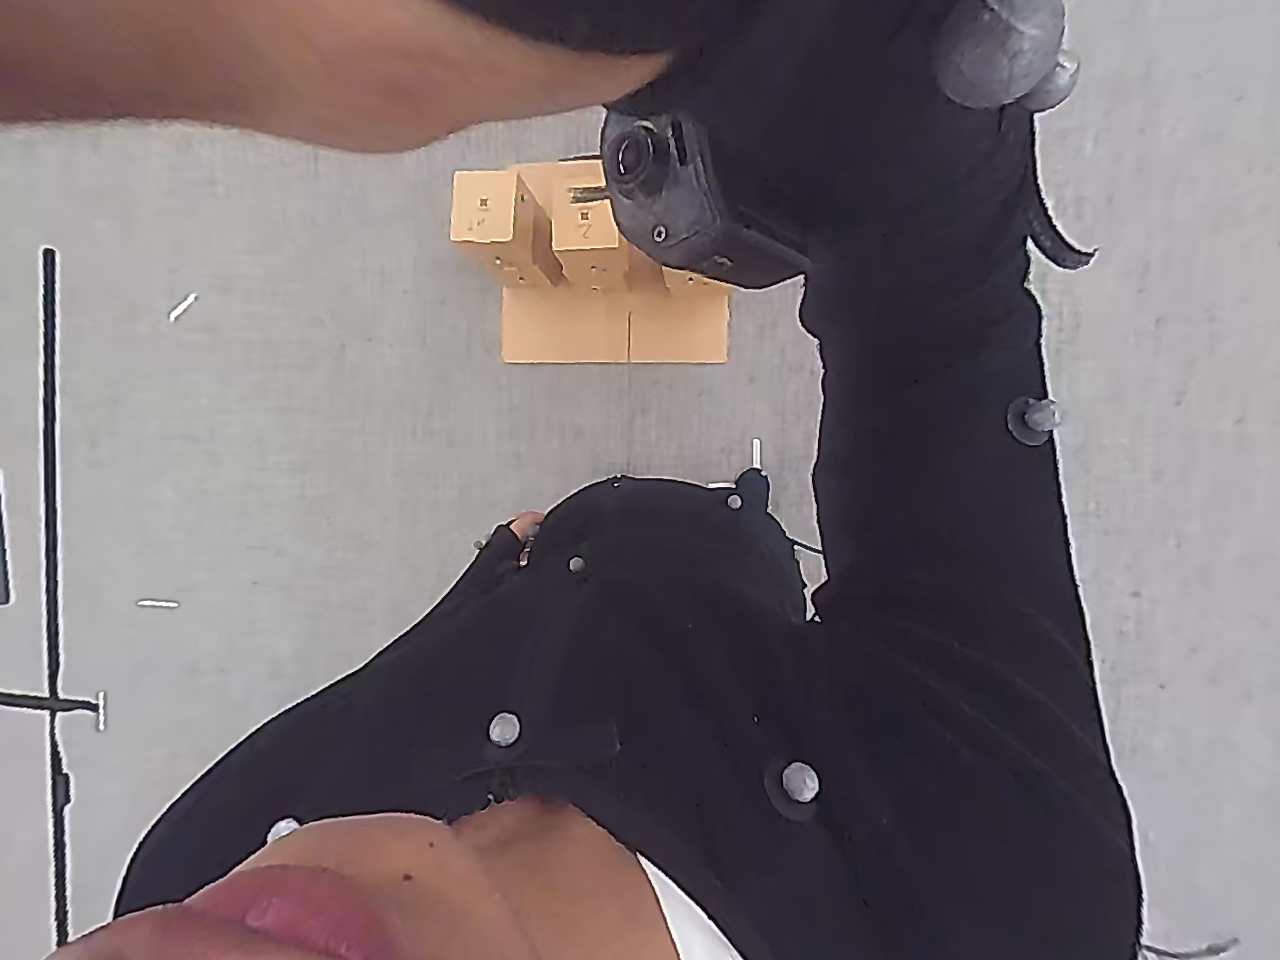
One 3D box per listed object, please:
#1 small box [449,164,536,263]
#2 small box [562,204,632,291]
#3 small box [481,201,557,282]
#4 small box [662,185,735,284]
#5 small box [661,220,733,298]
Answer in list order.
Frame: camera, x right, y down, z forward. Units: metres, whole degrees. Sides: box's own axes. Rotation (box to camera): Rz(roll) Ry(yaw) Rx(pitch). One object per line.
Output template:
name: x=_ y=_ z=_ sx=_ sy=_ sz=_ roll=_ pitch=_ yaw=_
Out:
small box: x=-0.375 y=-0.684 z=1.399 sx=0.168 sy=0.176 sz=0.179 roll=5 pitch=93 yaw=8
small box: x=-0.116 y=-0.654 z=1.535 sx=0.168 sy=0.176 sz=0.179 roll=5 pitch=92 yaw=6
small box: x=-0.344 y=-0.681 z=1.562 sx=0.168 sy=0.176 sz=0.179 roll=4 pitch=93 yaw=7
small box: x=0.144 y=-0.603 z=1.340 sx=0.168 sy=0.176 sz=0.179 roll=3 pitch=93 yaw=7
small box: x=0.159 y=-0.620 z=1.502 sx=0.179 sy=0.176 sz=0.168 roll=-7 pitch=91 yaw=7
